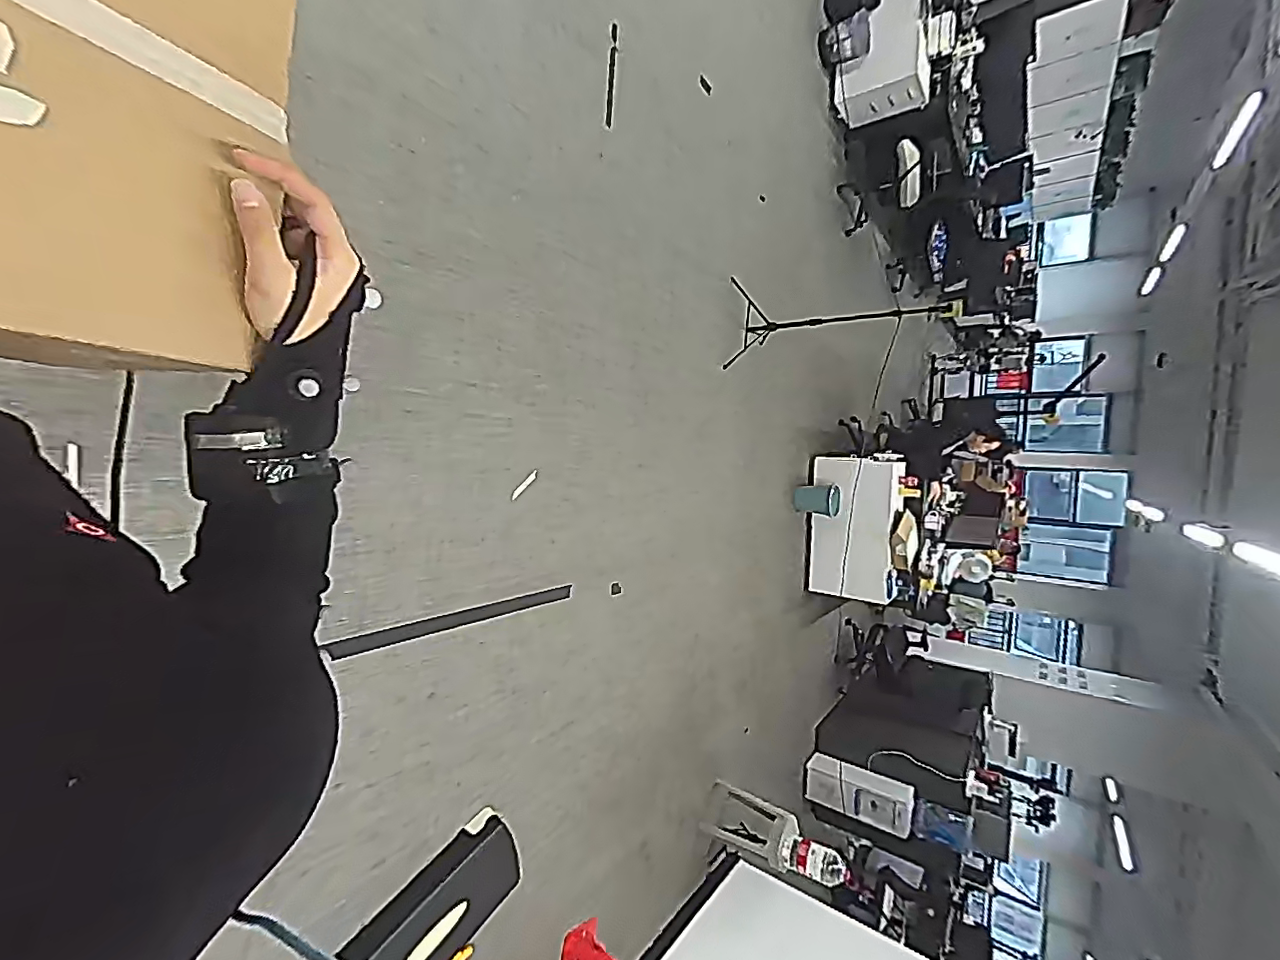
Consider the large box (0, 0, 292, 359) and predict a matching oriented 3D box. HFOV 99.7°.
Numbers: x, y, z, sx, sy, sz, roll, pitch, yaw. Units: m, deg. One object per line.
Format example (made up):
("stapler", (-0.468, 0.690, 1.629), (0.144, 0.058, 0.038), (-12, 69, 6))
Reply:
("large box", (-0.463, -0.249, 0.254), (0.408, 0.320, 0.320), (3, 95, -61))
